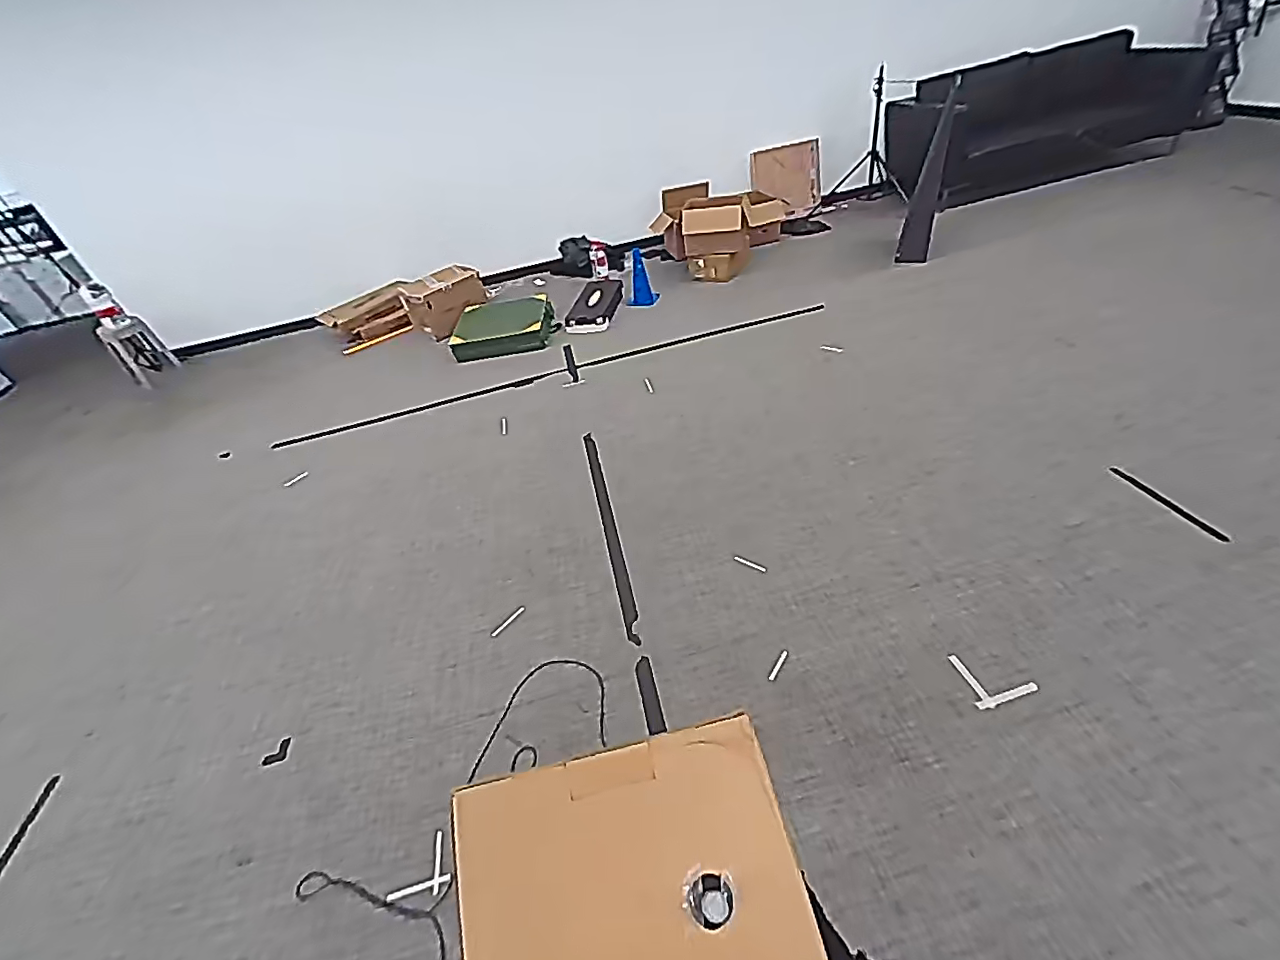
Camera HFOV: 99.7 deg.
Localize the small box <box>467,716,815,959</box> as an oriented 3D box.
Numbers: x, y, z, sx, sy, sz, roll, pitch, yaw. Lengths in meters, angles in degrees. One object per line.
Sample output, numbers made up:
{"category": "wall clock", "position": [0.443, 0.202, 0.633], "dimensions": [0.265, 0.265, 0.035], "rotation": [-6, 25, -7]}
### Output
{"category": "small box", "position": [0.000, 0.264, 0.346], "dimensions": [0.168, 0.179, 0.176], "rotation": [-11, 64, -8]}
